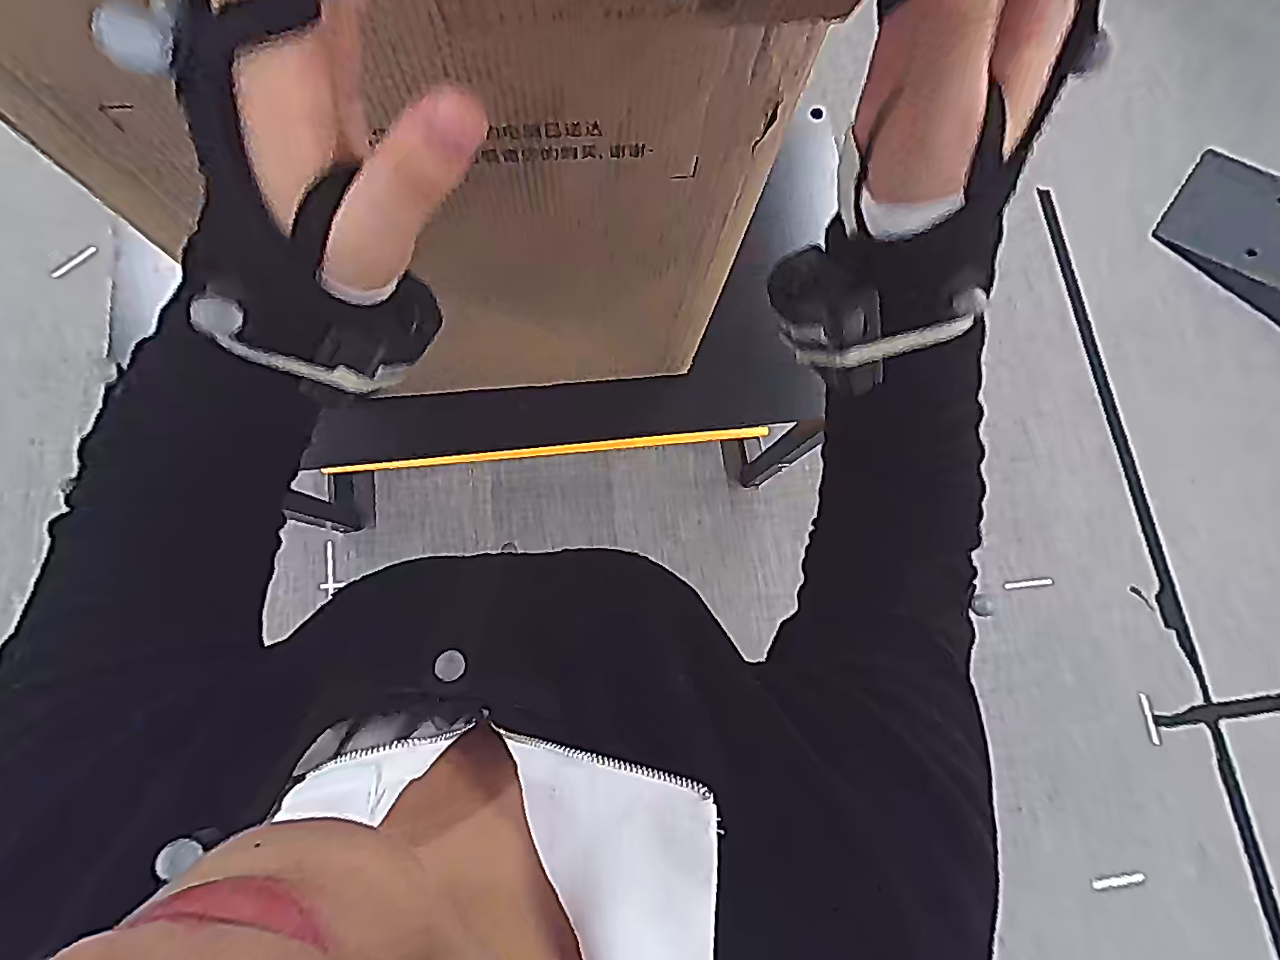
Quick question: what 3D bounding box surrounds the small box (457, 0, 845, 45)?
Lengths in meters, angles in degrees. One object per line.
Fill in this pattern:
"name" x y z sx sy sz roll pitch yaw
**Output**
"small box" 0.006 -0.245 0.123 0.168 0.176 0.179 -7 107 -3
